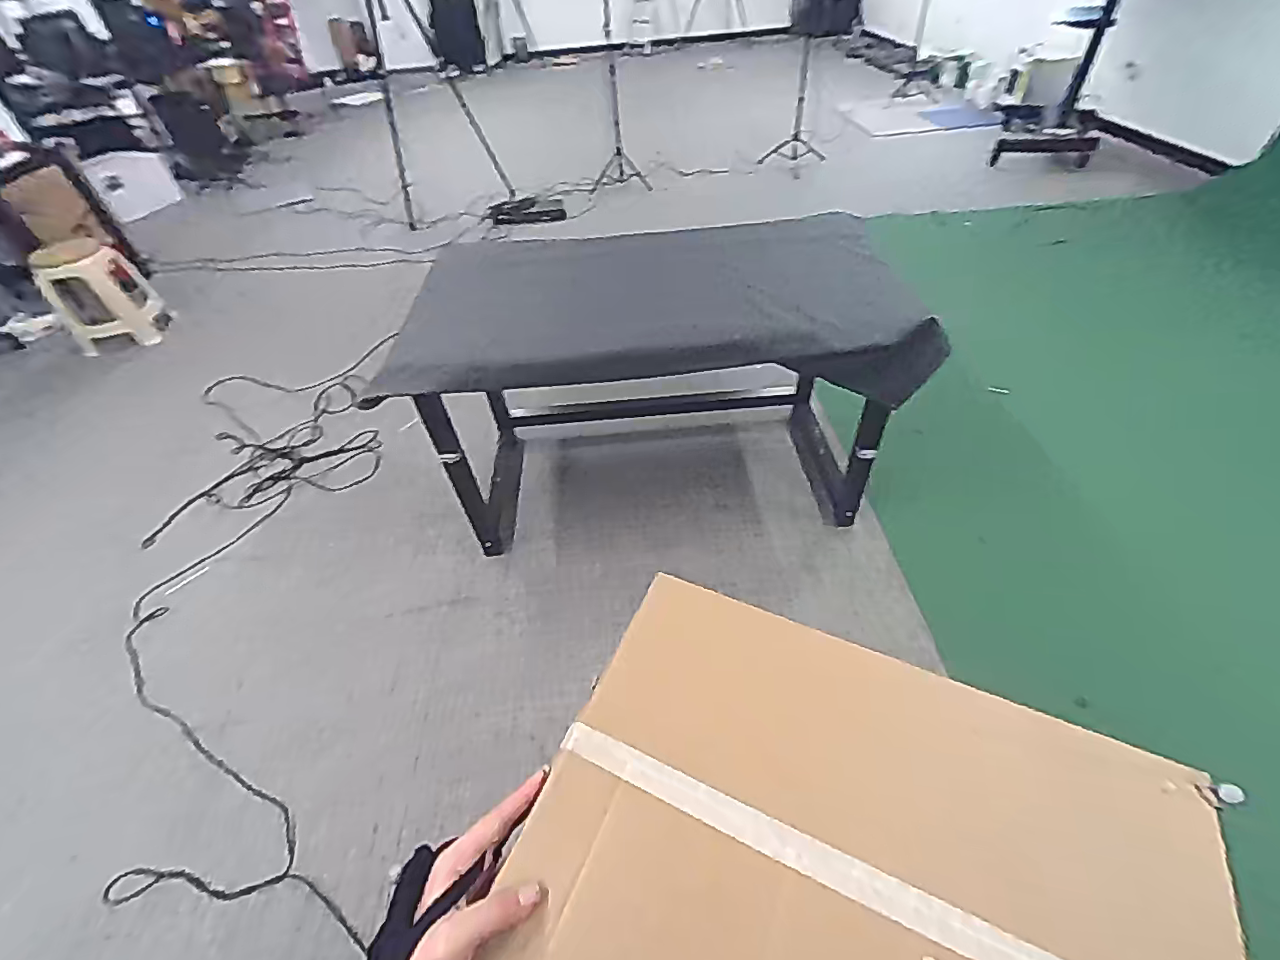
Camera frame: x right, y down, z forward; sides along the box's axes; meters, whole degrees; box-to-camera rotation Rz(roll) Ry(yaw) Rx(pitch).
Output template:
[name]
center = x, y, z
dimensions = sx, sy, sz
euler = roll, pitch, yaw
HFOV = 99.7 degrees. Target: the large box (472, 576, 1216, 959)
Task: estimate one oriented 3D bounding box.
[large box]
center = 0.141, 0.344, 0.463
dimensions = 0.408, 0.320, 0.320
euler = 17, 52, 18
